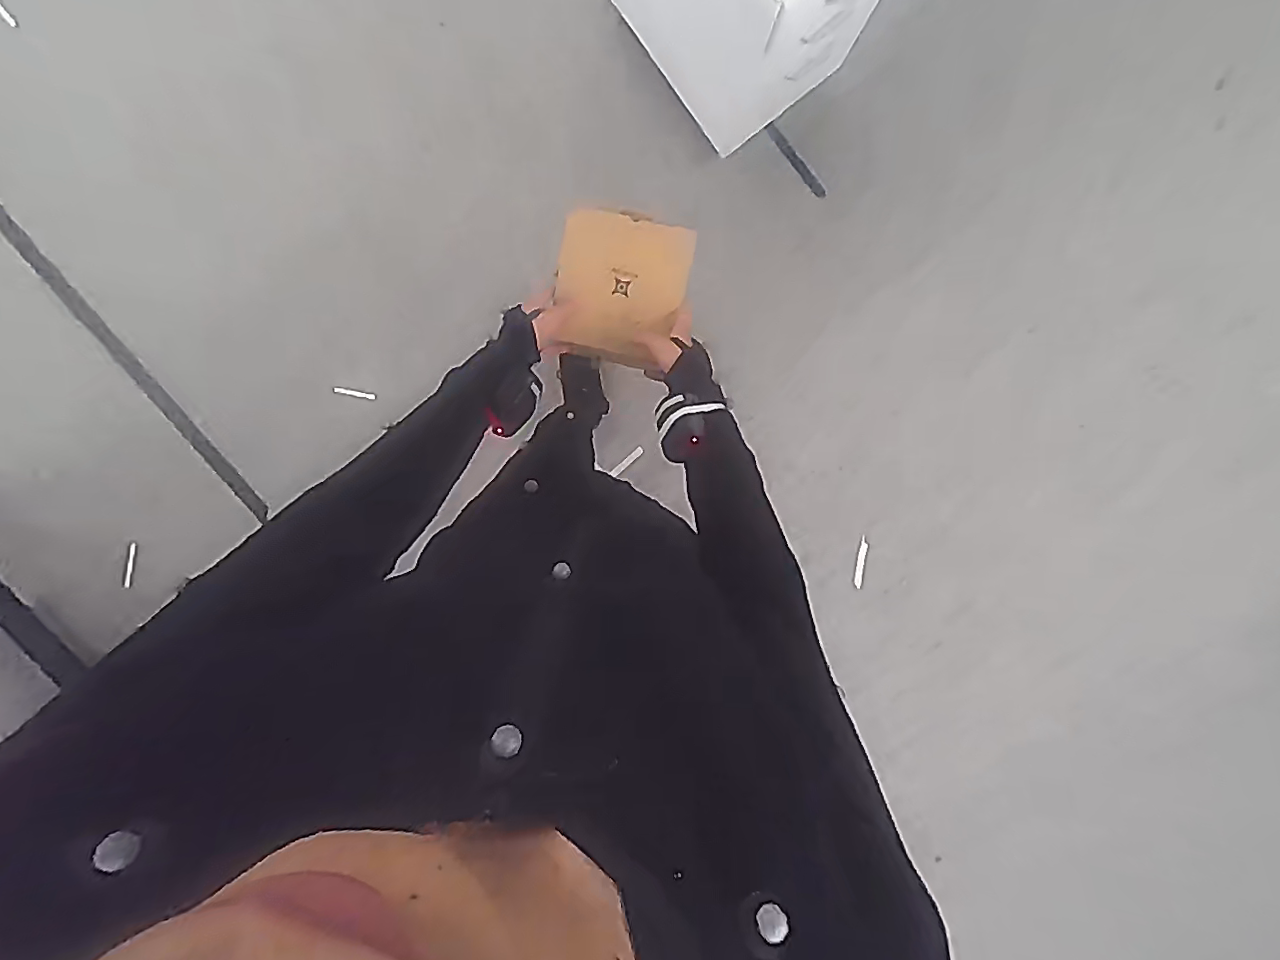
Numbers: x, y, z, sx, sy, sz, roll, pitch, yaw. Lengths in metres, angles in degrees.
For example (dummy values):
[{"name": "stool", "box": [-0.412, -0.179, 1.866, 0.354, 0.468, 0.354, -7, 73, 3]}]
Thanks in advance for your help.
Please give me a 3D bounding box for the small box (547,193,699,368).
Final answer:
[{"name": "small box", "box": [-0.026, -0.268, 0.769, 0.168, 0.176, 0.179, 13, 97, -4]}]
